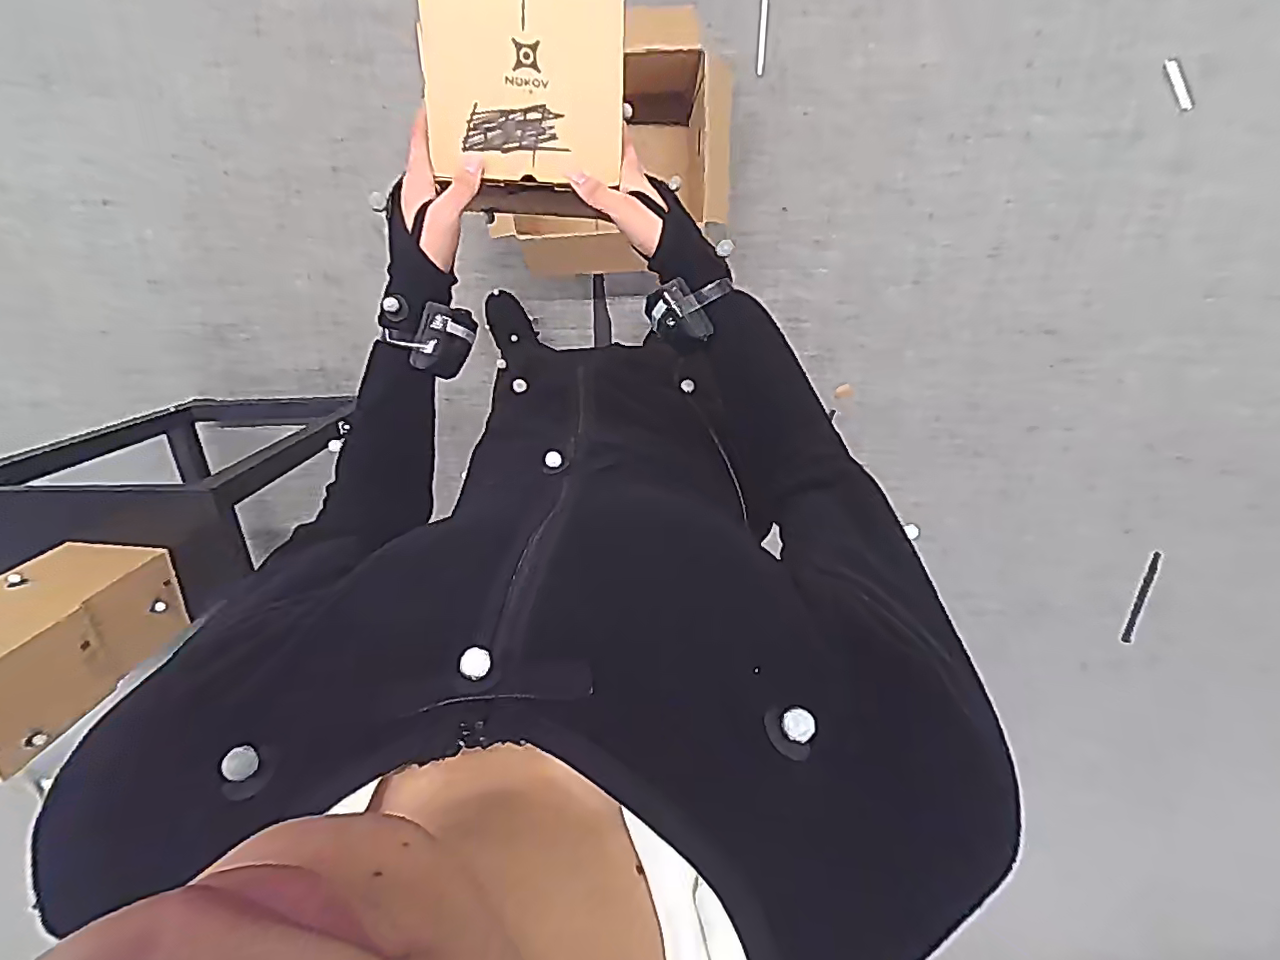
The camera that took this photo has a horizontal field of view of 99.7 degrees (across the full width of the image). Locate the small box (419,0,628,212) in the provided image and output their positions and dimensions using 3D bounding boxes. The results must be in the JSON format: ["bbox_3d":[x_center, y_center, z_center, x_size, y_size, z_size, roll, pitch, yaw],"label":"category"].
[{"bbox_3d":[-0.103,-0.364,0.513,0.168,0.176,0.179,-1,107,-9],"label":"small box"}]

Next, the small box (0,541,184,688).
[{"bbox_3d":[-0.920,0.214,0.894,0.179,0.176,0.168,4,114,-1],"label":"small box"}]
